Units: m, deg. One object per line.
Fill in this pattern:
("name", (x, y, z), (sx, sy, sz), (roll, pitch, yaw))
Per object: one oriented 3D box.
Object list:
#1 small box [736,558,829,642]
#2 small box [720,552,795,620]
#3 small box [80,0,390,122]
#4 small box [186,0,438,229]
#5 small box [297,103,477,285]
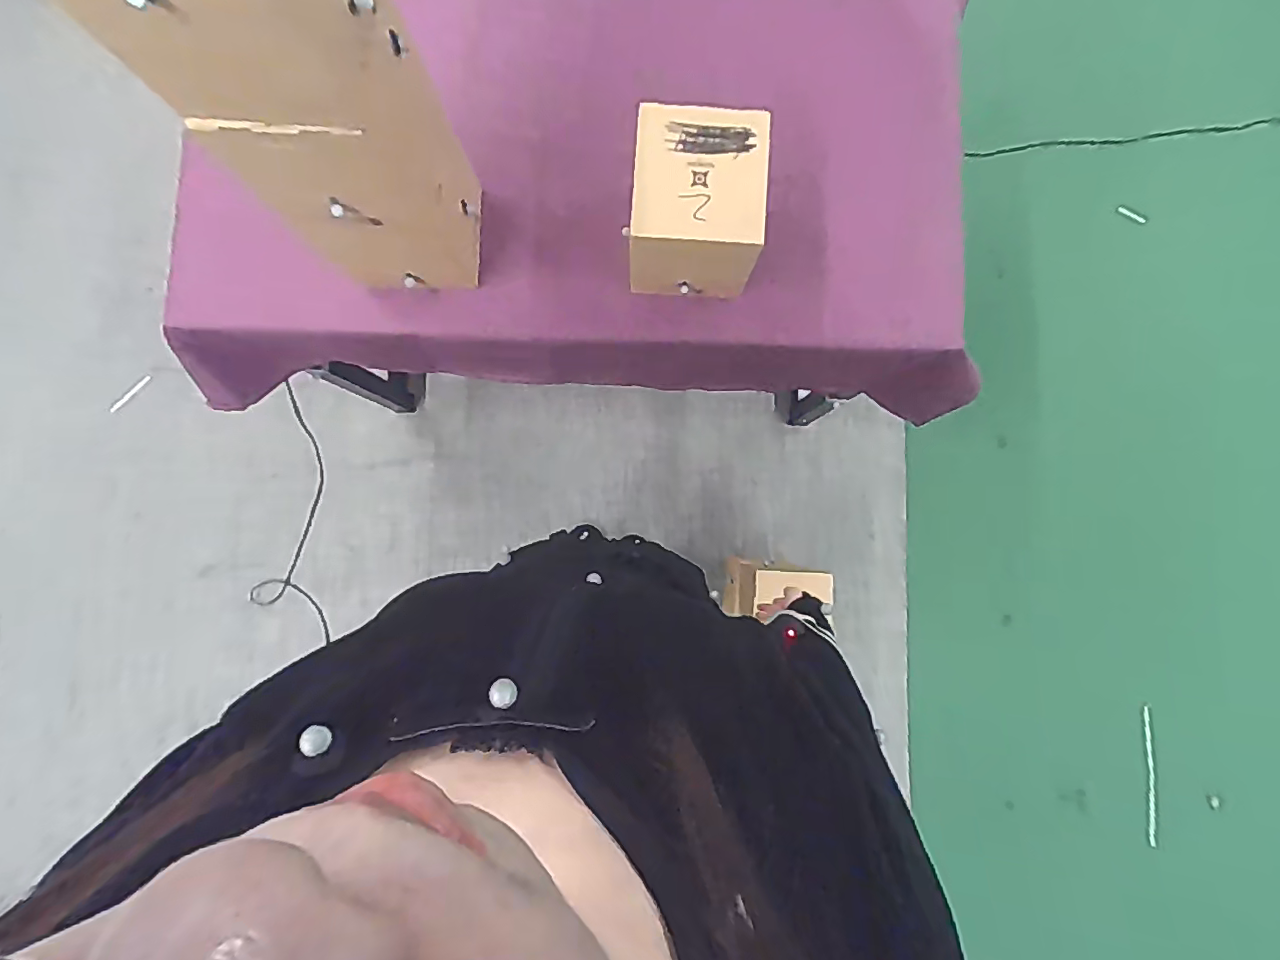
("small box", (0.327, 0.276, 1.275), (0.179, 0.176, 0.168), (4, 87, -2))
("small box", (0.316, 0.285, 1.437), (0.179, 0.176, 0.168), (6, 86, -1))
("small box", (-0.321, -0.413, 0.415), (0.179, 0.176, 0.168), (4, 86, -1))
("small box", (-0.328, -0.400, 0.579), (0.168, 0.176, 0.179), (2, 86, 0))
("small box", (-0.331, -0.383, 0.743), (0.179, 0.176, 0.168), (0, 85, -1))
